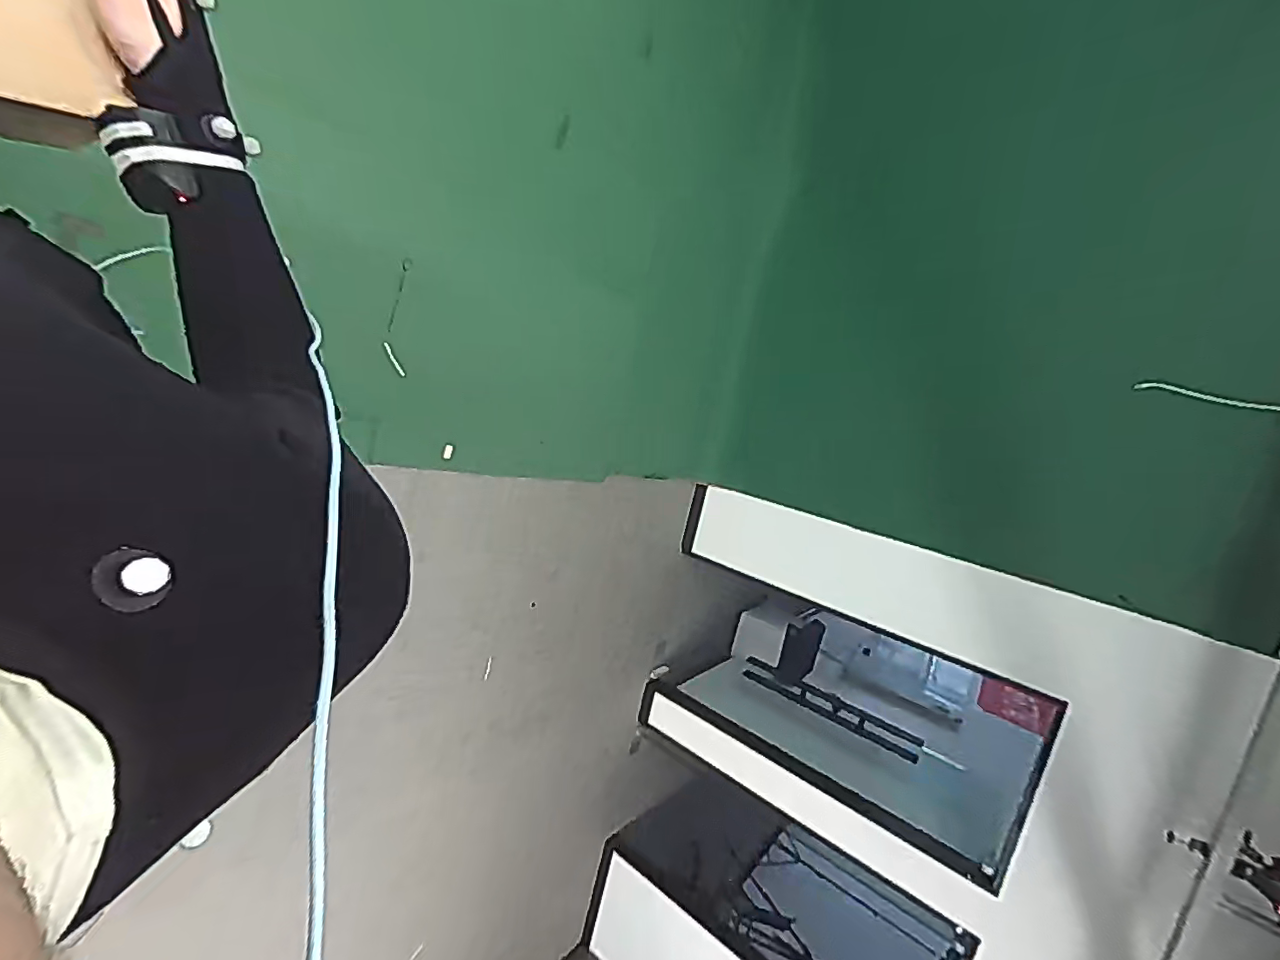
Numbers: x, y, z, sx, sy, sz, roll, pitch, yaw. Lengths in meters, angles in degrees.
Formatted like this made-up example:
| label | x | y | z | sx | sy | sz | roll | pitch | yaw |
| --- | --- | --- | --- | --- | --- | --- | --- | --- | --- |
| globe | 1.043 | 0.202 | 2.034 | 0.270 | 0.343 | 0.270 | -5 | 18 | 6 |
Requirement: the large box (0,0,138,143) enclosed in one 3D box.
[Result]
| label | x | y | z | sx | sy | sz | roll | pitch | yaw |
| --- | --- | --- | --- | --- | --- | --- | --- | --- | --- |
| large box | -0.619 | -0.428 | 0.310 | 0.408 | 0.320 | 0.320 | -17 | 121 | -49 |
